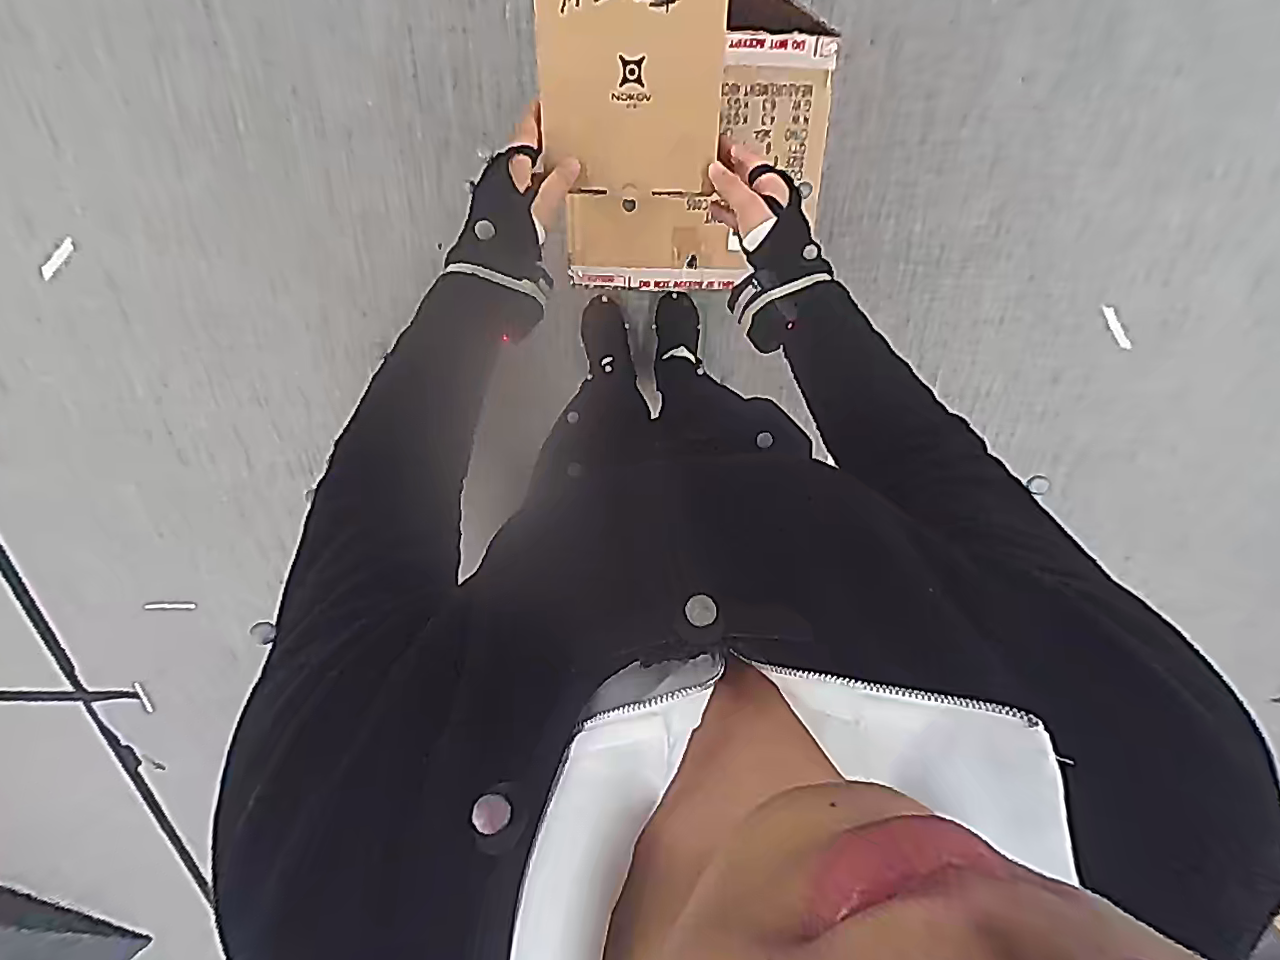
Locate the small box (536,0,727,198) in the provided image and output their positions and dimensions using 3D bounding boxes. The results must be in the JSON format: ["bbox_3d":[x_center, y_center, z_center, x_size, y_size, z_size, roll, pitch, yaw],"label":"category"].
[{"bbox_3d":[-0.007,-0.393,0.556,0.168,0.176,0.179,0,118,0],"label":"small box"}]
